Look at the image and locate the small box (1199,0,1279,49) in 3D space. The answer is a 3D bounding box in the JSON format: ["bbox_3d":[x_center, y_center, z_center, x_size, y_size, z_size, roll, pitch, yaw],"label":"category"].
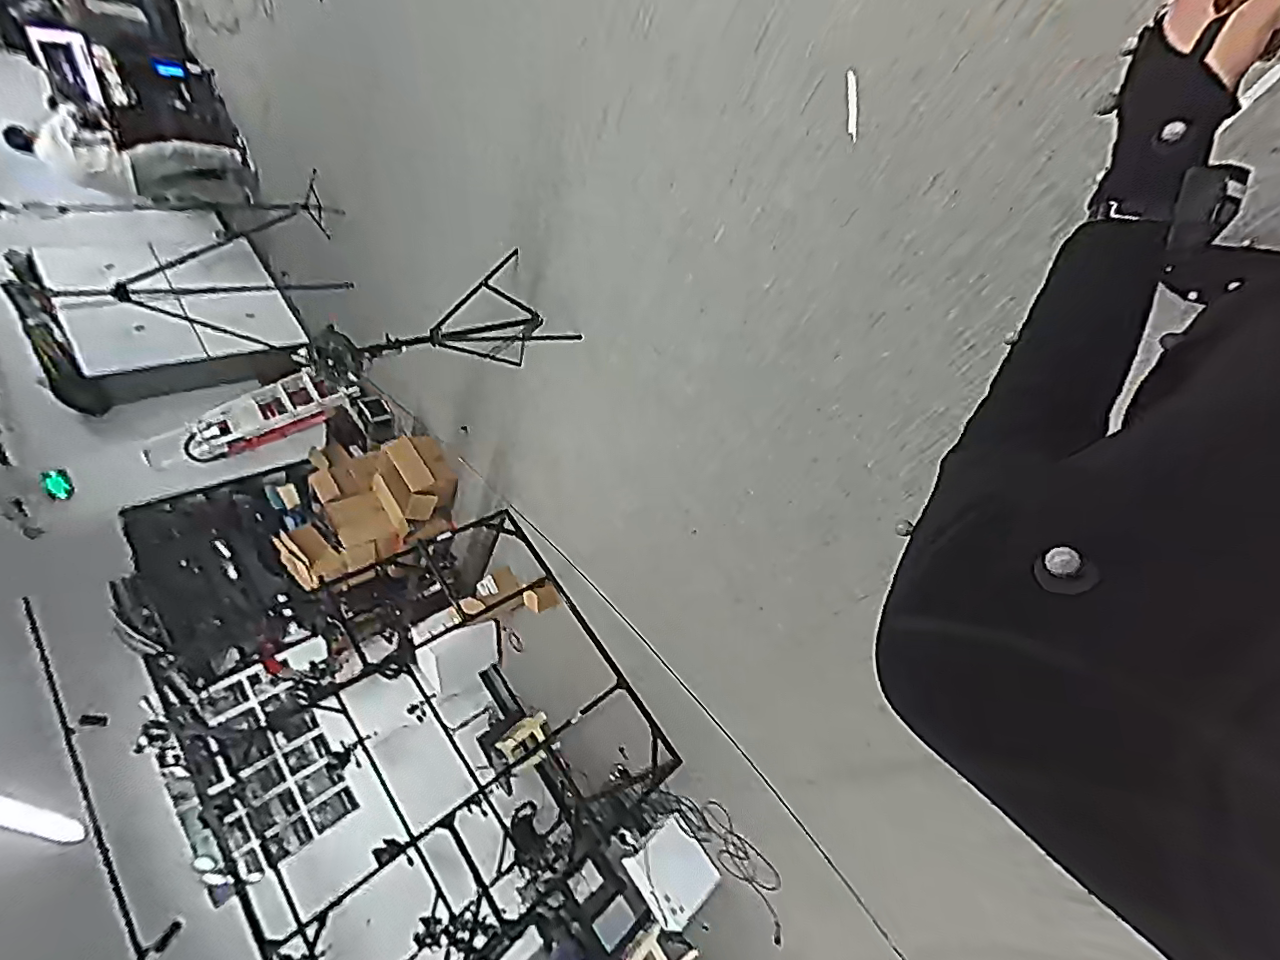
[{"bbox_3d":[0.514,-0.441,0.374,0.168,0.176,0.179,-9,109,41],"label":"small box"}]
